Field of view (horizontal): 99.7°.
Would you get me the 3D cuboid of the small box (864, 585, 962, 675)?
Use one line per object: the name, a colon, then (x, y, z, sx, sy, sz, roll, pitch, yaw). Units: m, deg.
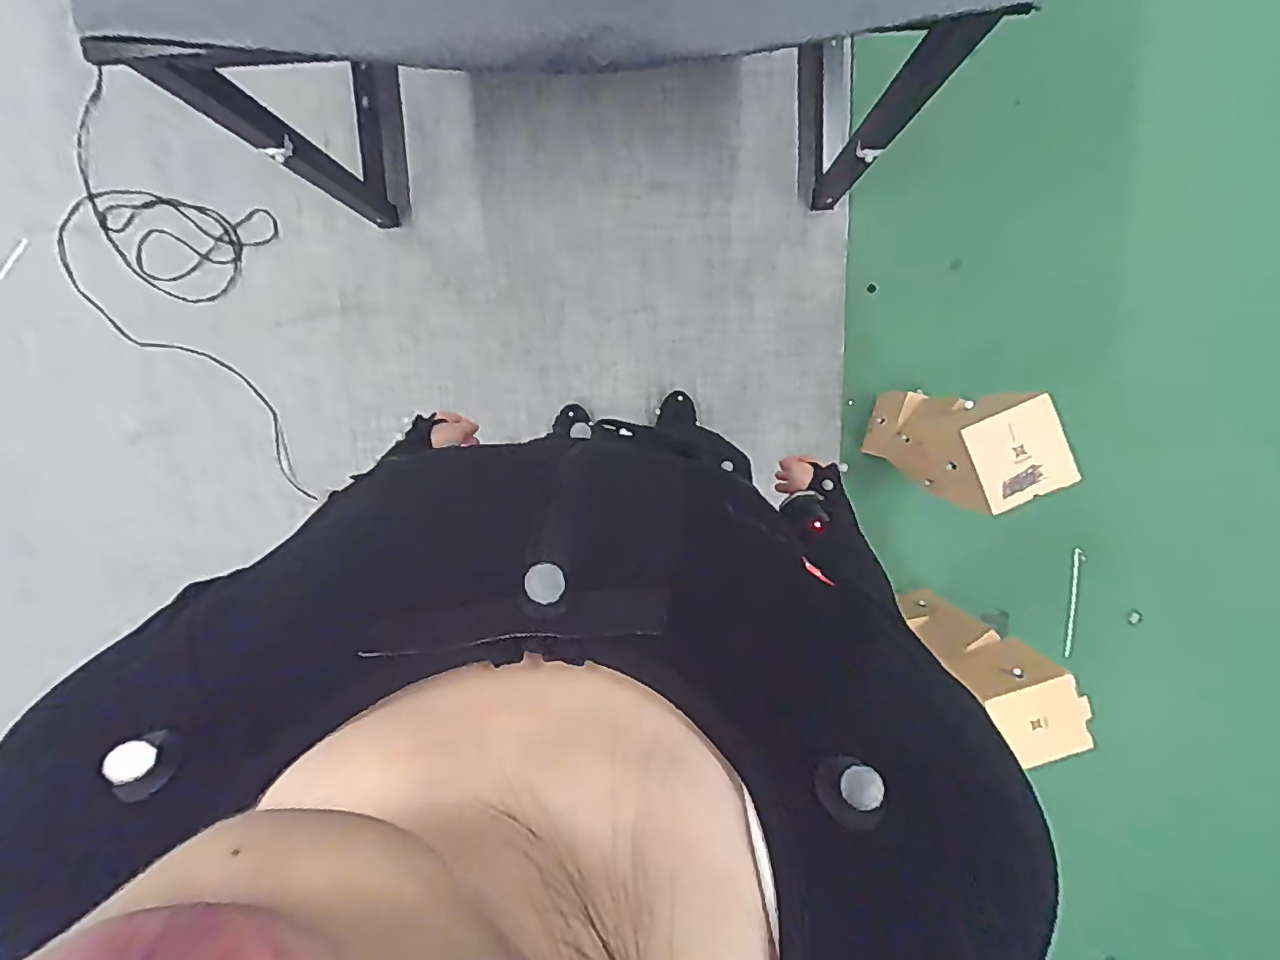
small box: (0.729, 0.395, 1.450, 0.179, 0.176, 0.168, -10, 99, 2)

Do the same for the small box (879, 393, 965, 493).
small box: (0.679, -0.078, 1.216, 0.179, 0.176, 0.168, 35, 99, -5)

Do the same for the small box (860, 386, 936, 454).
small box: (0.688, -0.134, 1.371, 0.179, 0.176, 0.168, 15, 99, -2)

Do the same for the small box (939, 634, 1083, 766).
small box: (0.756, 0.449, 1.127, 0.179, 0.176, 0.168, -20, 98, 4)

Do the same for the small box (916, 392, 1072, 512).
small box: (0.676, -0.062, 1.052, 0.168, 0.176, 0.179, -24, 97, 6)
